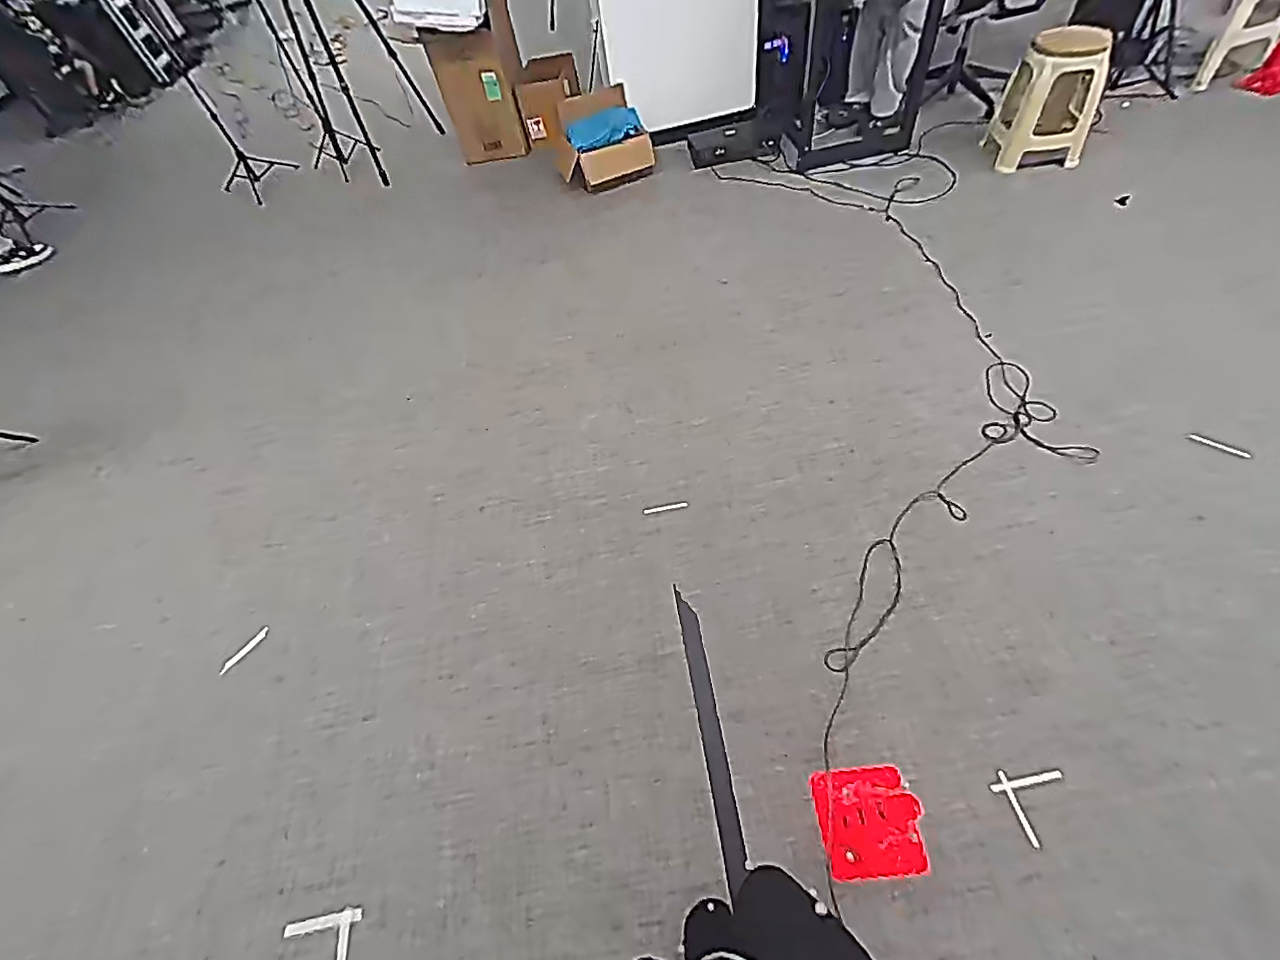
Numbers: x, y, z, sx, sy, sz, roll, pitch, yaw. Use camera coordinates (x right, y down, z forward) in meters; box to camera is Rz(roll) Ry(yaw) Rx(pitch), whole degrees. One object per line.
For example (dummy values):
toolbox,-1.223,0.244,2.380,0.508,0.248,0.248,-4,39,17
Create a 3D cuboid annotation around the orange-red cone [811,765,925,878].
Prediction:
orange-red cone,0.455,0.622,1.005,0.199,0.360,0.198,-7,55,4
